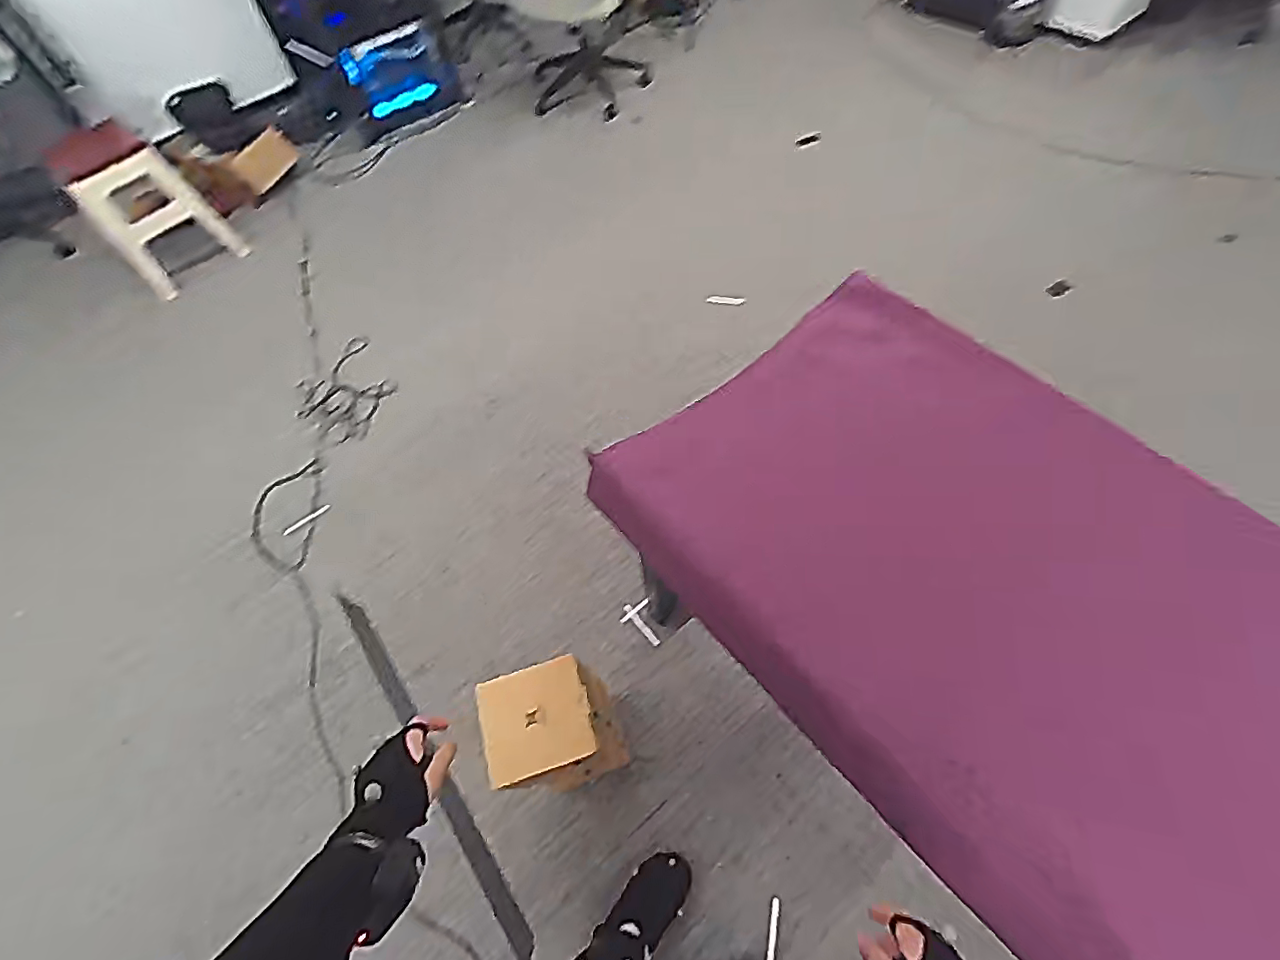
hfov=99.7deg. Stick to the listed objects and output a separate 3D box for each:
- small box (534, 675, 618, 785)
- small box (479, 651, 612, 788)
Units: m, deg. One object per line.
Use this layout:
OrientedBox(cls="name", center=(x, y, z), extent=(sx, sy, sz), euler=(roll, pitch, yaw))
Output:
OrientedBox(cls="small box", center=(-0.144, 0.509, 1.095), extent=(0.179, 0.176, 0.168), euler=(-12, 60, -2))
OrientedBox(cls="small box", center=(-0.161, 0.426, 0.955), extent=(0.179, 0.176, 0.168), euler=(-19, 62, -5))
